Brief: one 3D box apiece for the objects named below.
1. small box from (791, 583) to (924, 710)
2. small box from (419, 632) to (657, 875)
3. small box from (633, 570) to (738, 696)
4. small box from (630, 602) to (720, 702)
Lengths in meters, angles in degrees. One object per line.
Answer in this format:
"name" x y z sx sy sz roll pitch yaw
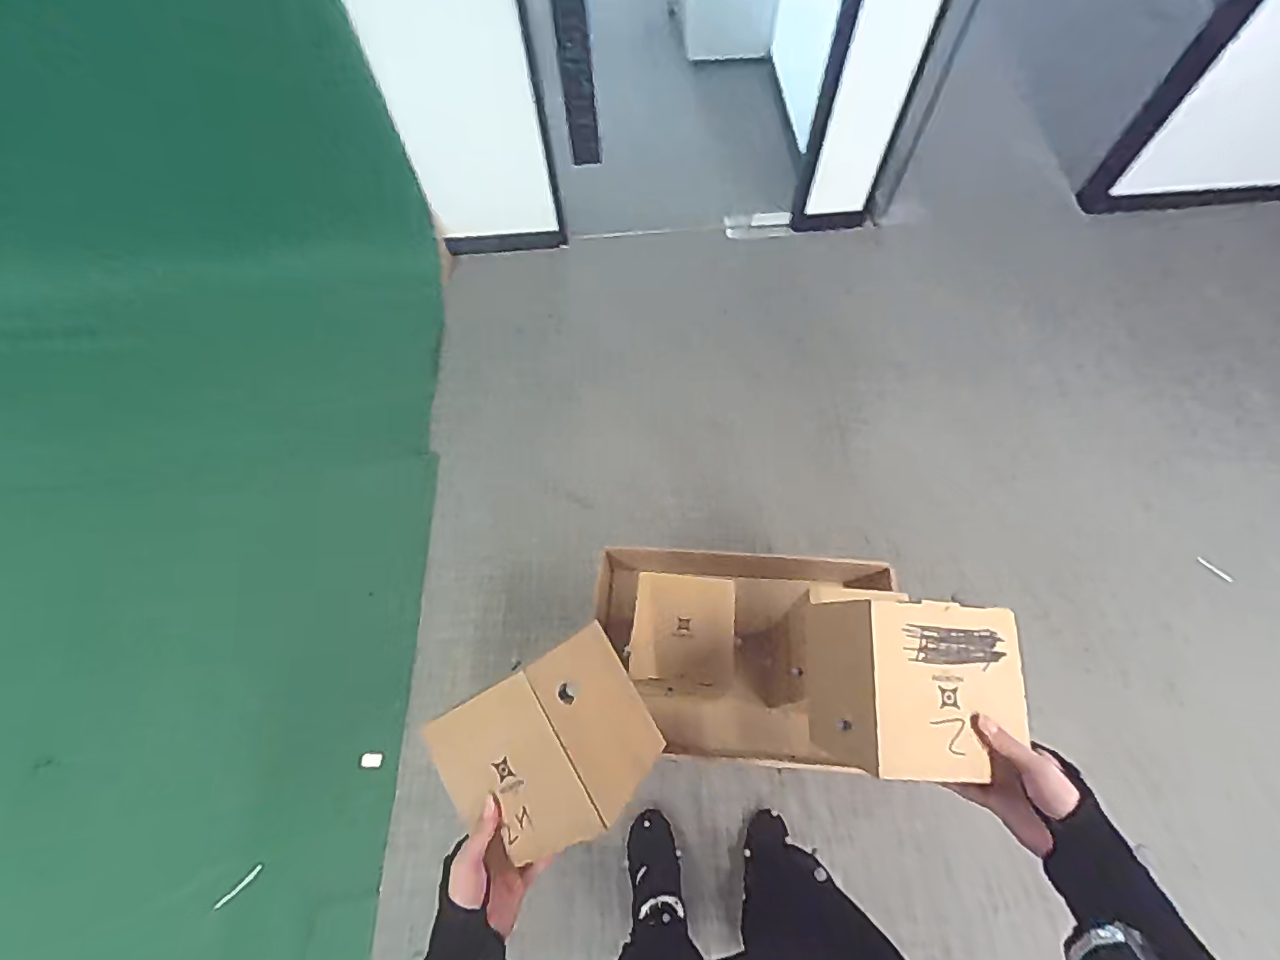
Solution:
"small box" 0.362 0.293 0.934 0.168 0.176 0.179 5 62 4
"small box" -0.109 0.297 0.629 0.168 0.176 0.179 -35 81 21
"small box" 0.079 0.275 0.958 0.168 0.176 0.179 4 64 4
"small box" 0.081 0.351 1.103 0.179 0.176 0.168 6 64 5
